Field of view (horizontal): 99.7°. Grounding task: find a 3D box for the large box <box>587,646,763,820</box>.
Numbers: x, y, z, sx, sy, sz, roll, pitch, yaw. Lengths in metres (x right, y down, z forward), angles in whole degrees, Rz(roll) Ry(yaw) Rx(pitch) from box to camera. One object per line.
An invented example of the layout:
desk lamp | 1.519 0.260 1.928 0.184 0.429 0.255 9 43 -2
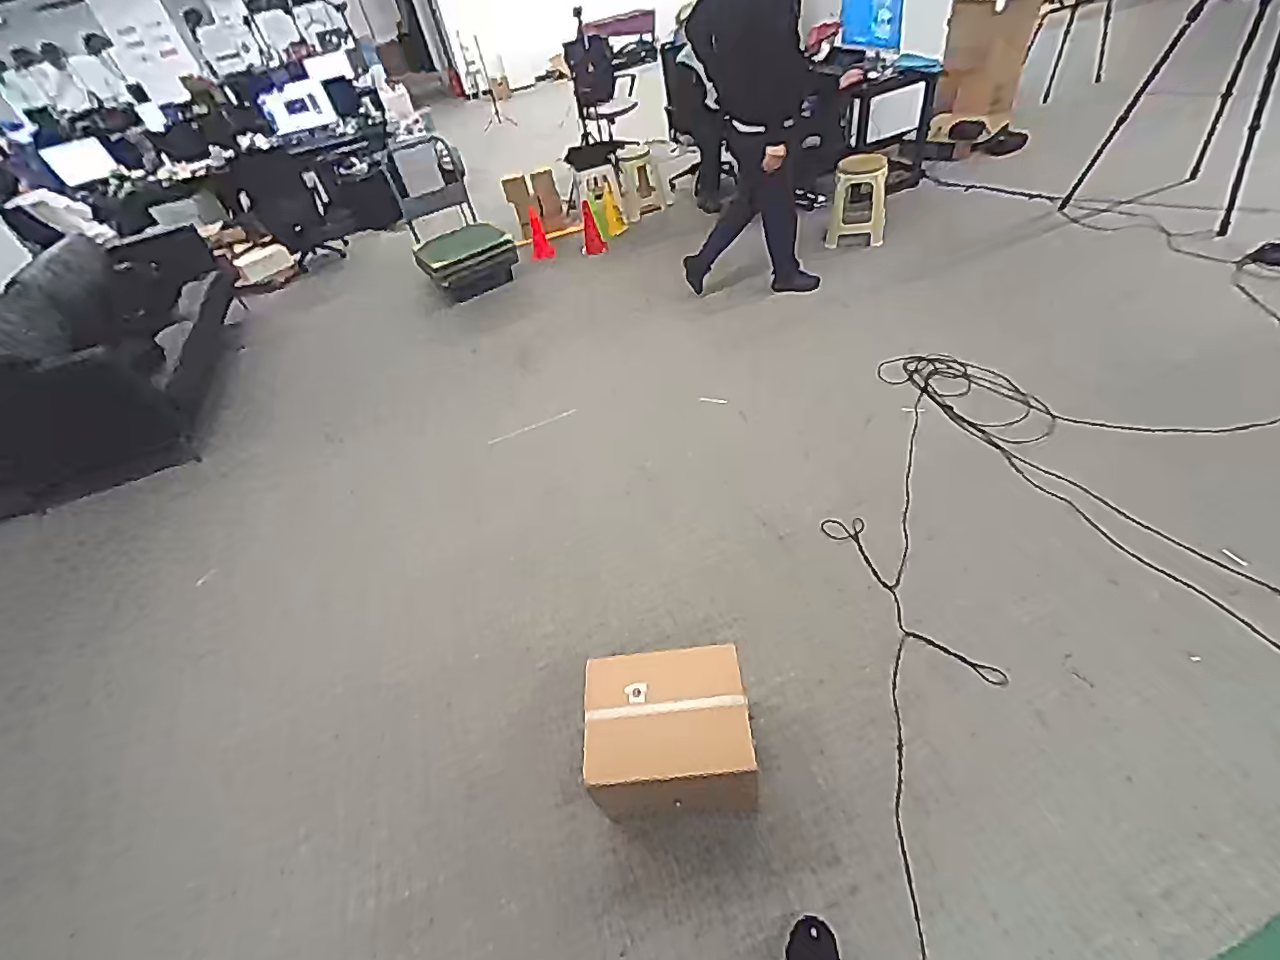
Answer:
large box | 0.094 0.678 1.437 0.408 0.320 0.320 -9 43 6
